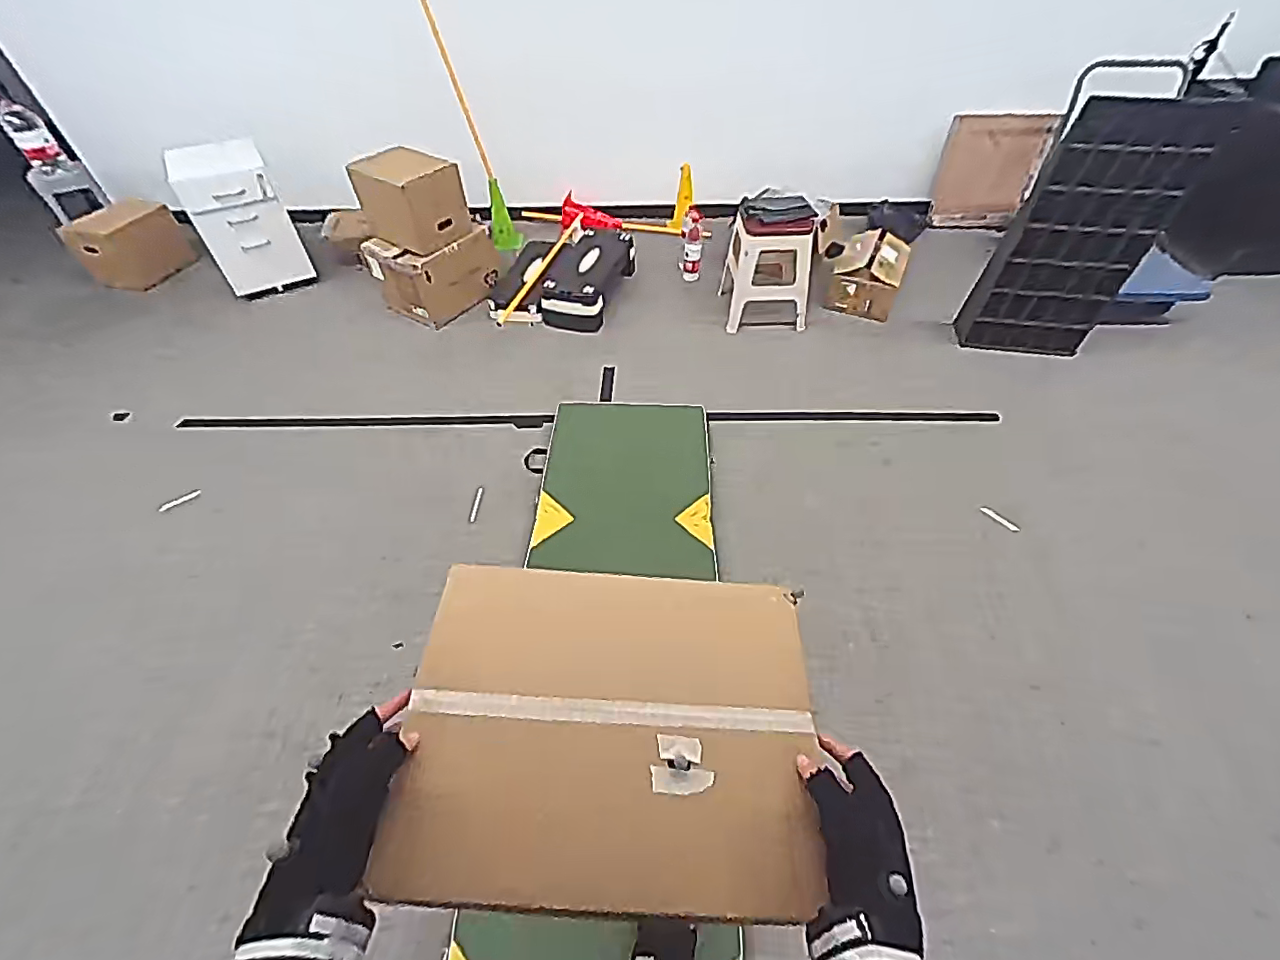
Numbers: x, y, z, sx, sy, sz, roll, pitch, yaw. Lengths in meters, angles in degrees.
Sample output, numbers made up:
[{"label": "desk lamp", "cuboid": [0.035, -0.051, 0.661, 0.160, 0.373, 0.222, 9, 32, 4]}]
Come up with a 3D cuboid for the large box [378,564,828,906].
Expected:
[{"label": "large box", "cuboid": [-0.039, 0.326, 0.677, 0.408, 0.320, 0.320, 5, 50, -2]}]
